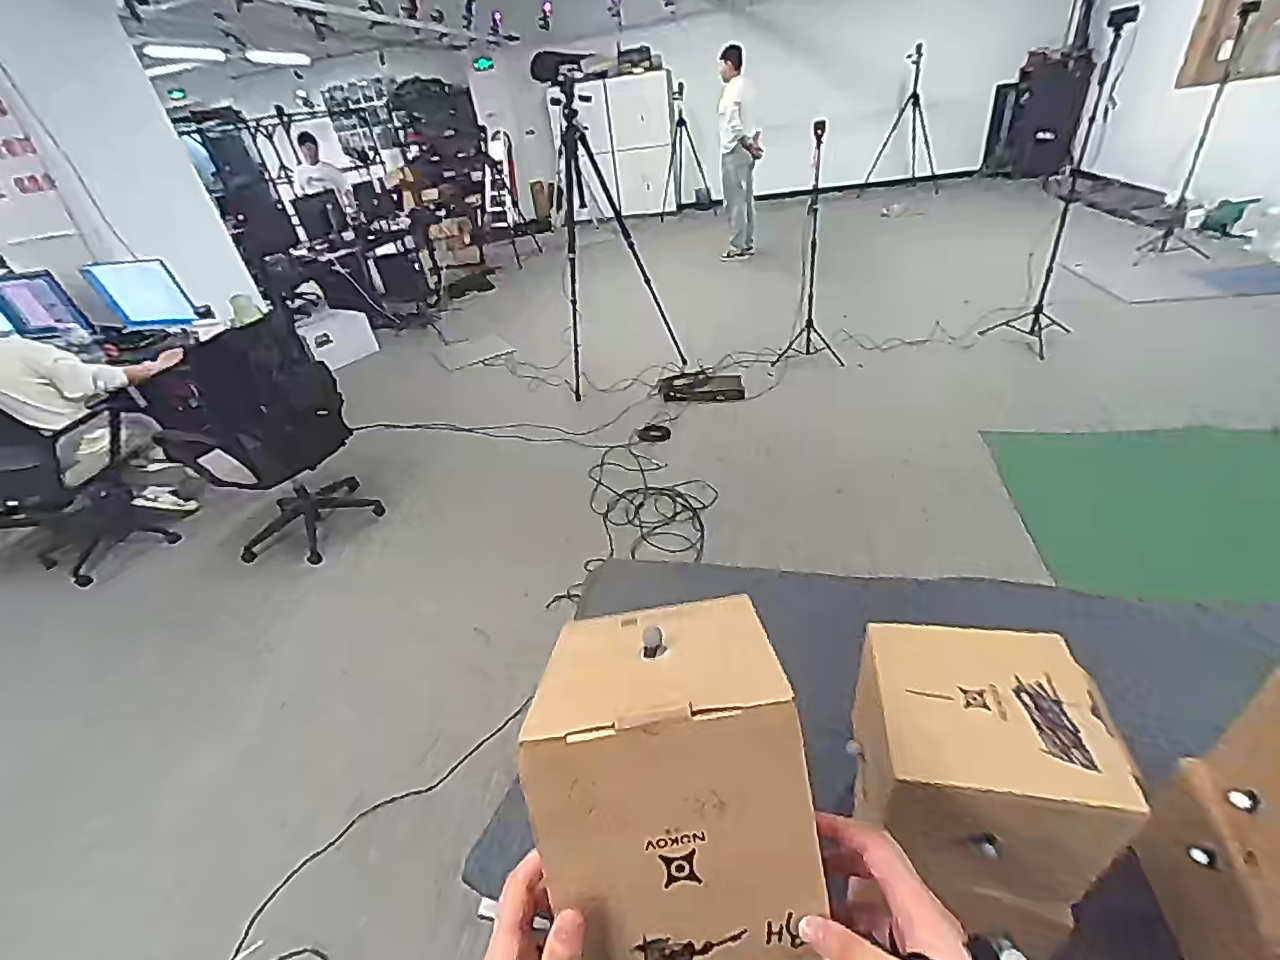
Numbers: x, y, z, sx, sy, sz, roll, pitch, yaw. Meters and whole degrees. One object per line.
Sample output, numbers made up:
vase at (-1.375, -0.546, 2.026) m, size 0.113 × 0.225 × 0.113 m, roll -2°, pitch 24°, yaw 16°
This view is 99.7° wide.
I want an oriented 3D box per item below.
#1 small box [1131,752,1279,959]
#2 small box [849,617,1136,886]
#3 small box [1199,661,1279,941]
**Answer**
small box at (0.637, 0.403, 0.527) m, size 0.168 × 0.176 × 0.179 m, roll 0°, pitch 35°, yaw 15°
small box at (0.308, 0.257, 0.523) m, size 0.179 × 0.176 × 0.168 m, roll 1°, pitch 35°, yaw 15°
small box at (0.612, 0.278, 0.426) m, size 0.179 × 0.176 × 0.168 m, roll 7°, pitch 37°, yaw 24°
